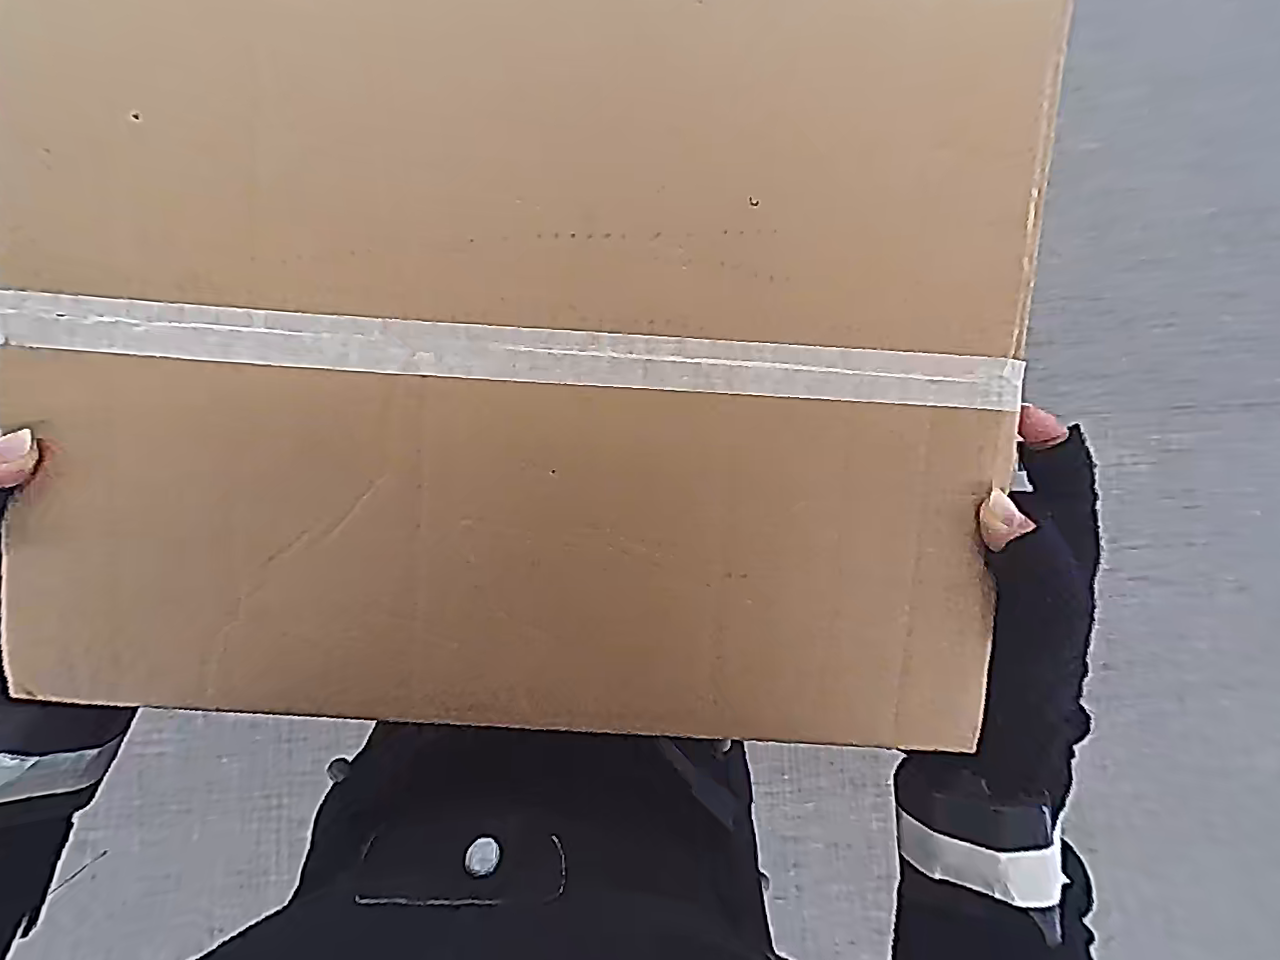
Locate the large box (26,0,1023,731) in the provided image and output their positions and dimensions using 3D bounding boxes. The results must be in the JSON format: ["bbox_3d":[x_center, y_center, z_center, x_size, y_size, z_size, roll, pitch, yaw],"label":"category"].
[{"bbox_3d":[-0.050,-0.060,0.377,0.408,0.320,0.320,4,94,-1],"label":"large box"}]
